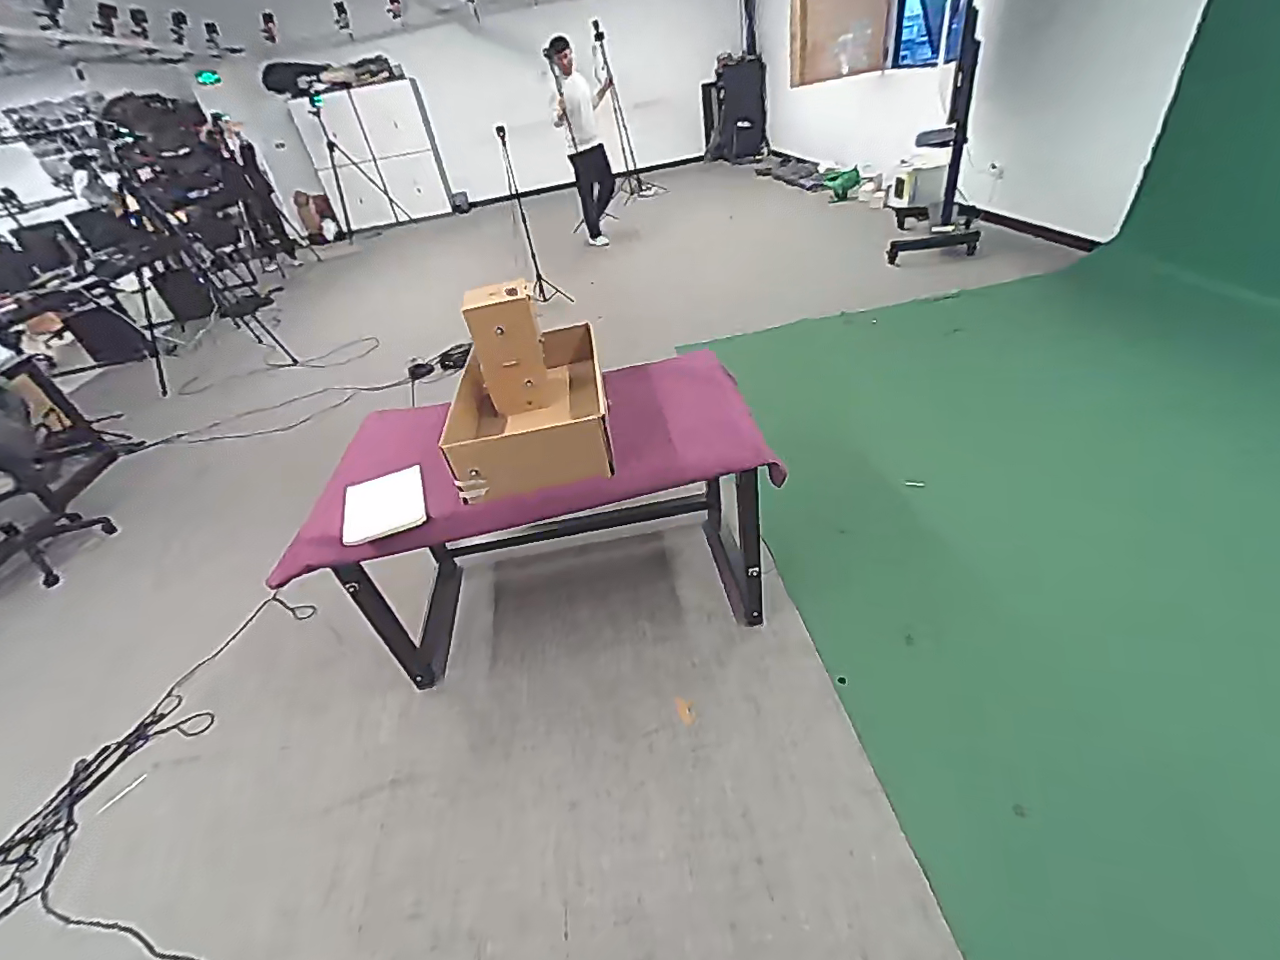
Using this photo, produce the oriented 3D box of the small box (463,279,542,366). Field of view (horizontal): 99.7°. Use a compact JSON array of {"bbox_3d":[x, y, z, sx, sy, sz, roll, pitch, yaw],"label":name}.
[{"bbox_3d":[-0.378,-0.442,1.523,0.179,0.176,0.168,-13,38,-2],"label":"small box"}]
